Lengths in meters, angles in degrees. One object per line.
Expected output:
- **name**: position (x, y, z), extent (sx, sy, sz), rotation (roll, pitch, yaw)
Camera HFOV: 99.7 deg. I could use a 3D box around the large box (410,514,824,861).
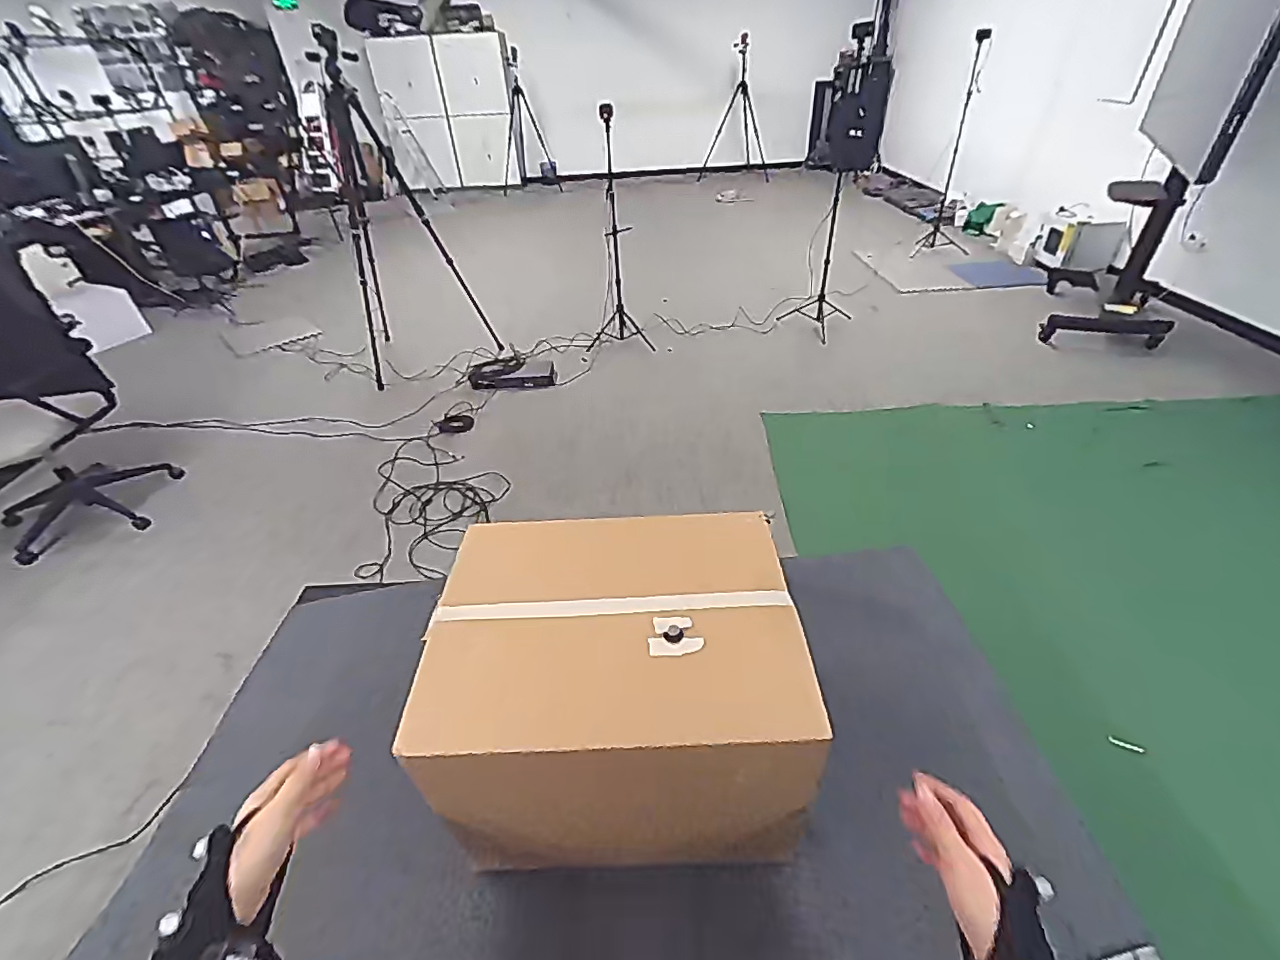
- **large box**: position (-0.022, 0.267, 0.717), extent (0.408, 0.320, 0.320), rotation (-2, 39, 0)
